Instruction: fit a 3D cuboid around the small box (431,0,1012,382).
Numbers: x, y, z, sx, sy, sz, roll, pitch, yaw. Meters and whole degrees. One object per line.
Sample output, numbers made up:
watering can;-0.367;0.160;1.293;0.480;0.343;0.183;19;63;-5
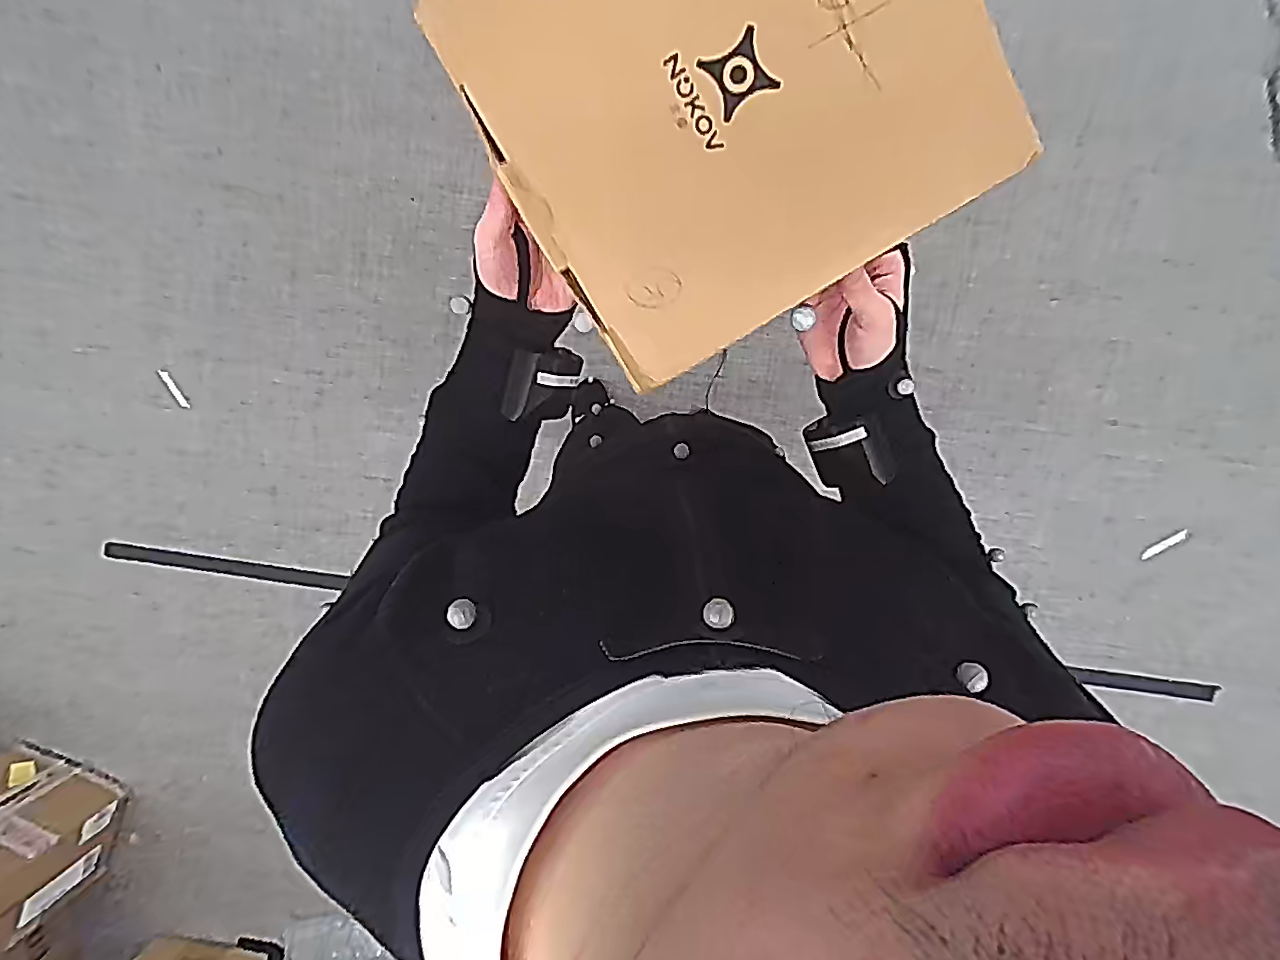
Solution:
small box;0.035;-0.169;0.287;0.179;0.176;0.168;-31;101;8
